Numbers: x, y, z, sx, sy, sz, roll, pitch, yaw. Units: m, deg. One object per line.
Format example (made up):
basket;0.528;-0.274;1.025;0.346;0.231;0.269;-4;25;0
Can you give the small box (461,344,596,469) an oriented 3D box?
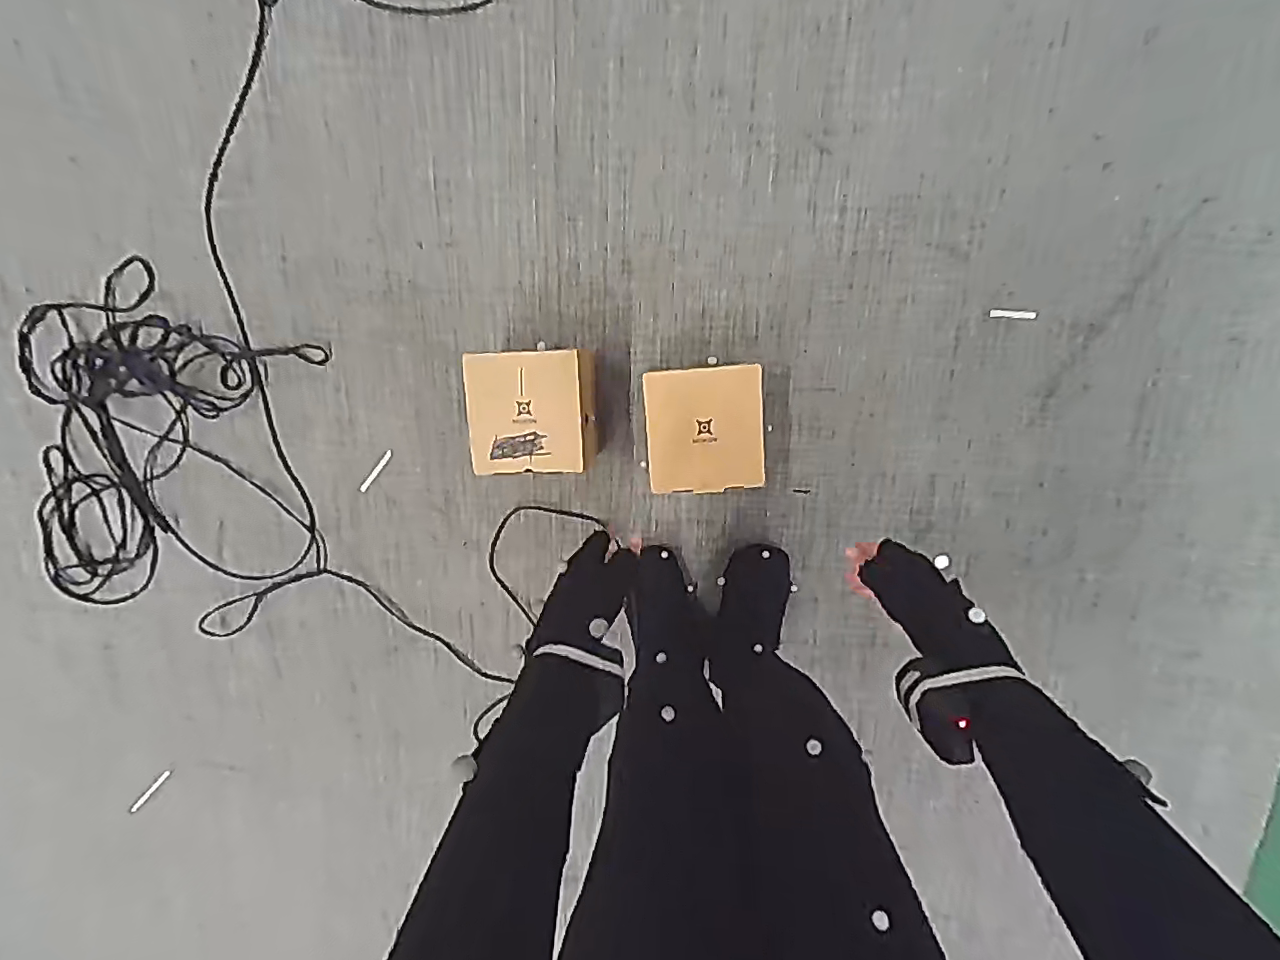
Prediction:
small box;-0.160;-0.119;0.836;0.168;0.176;0.179;-1;102;3

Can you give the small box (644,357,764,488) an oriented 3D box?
small box;0.094;-0.094;0.831;0.168;0.176;0.179;-3;104;4
